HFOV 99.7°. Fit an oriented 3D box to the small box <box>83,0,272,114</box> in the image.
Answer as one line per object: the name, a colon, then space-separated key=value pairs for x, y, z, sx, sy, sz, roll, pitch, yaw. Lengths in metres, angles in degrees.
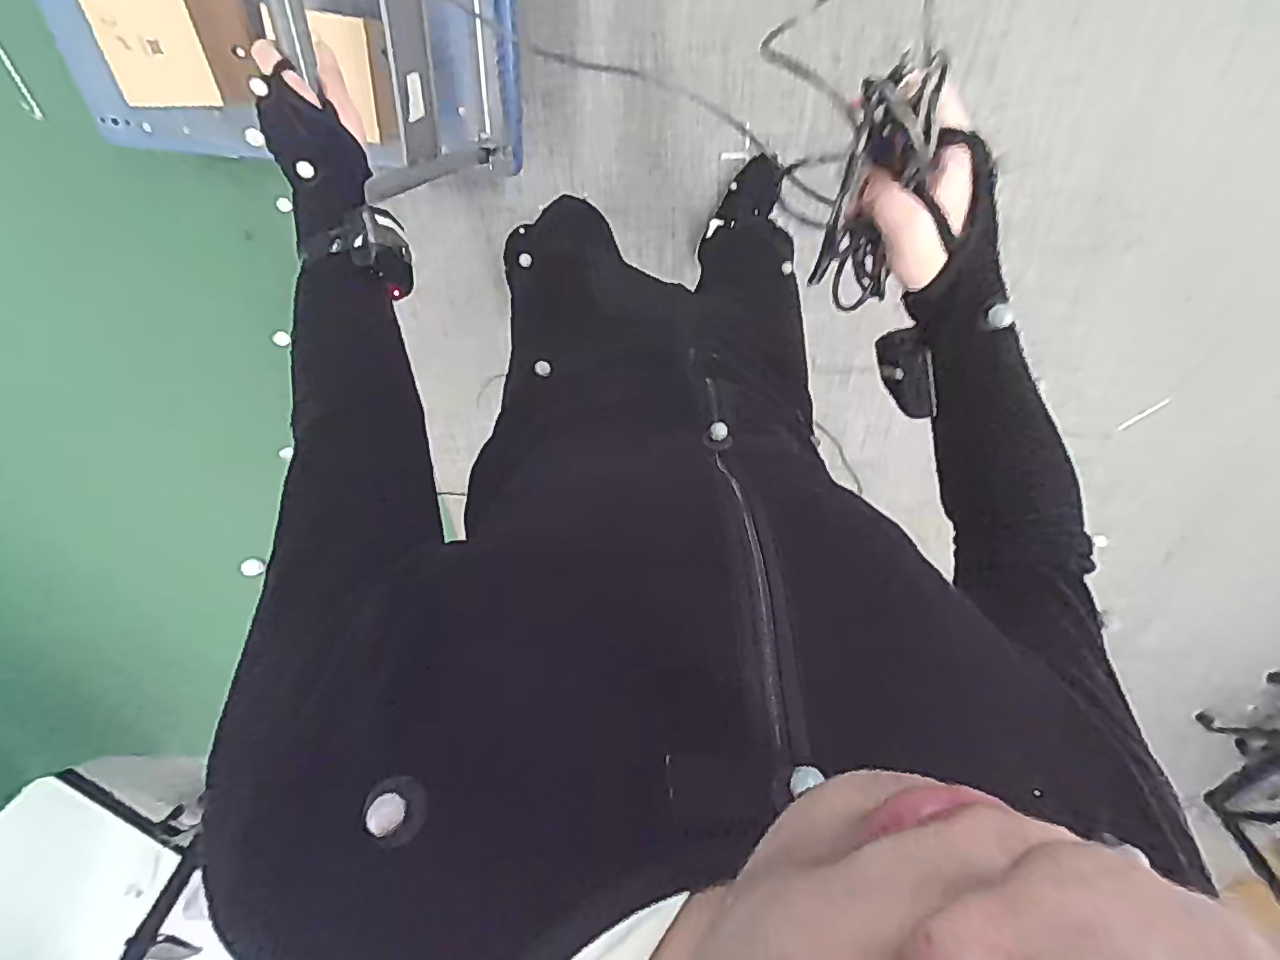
small box: x=-0.803 y=-0.761 z=0.968 sx=0.179 sy=0.176 sz=0.168 roll=1 pitch=126 yaw=2
